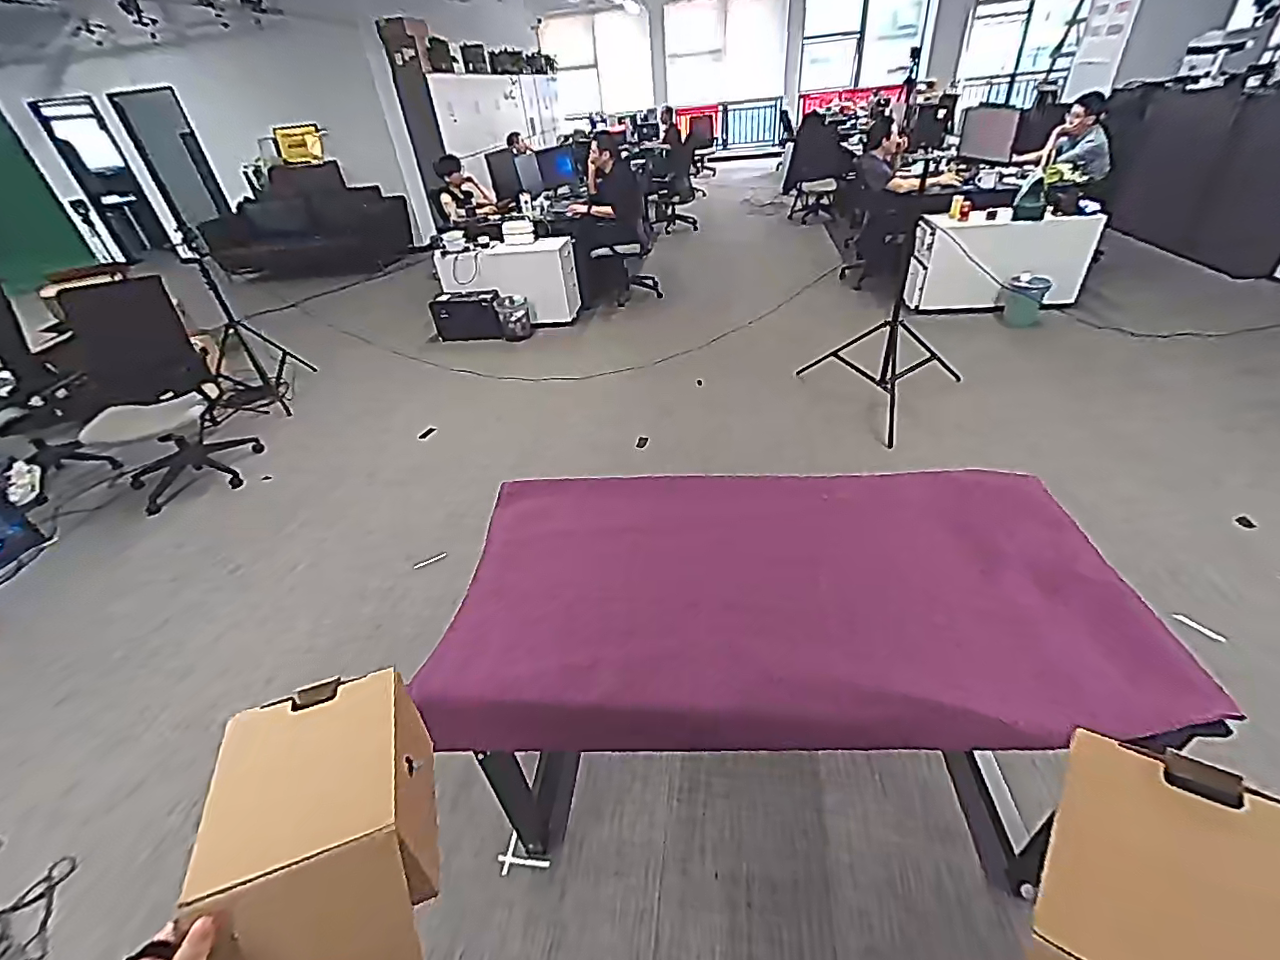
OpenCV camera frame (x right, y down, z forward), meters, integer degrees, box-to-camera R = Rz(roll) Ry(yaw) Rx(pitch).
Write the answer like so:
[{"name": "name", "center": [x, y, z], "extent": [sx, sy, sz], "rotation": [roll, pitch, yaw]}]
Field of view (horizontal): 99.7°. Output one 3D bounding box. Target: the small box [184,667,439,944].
[{"name": "small box", "center": [-0.314, 0.336, 0.562], "extent": [0.168, 0.176, 0.179], "rotation": [-13, 36, -16]}]
